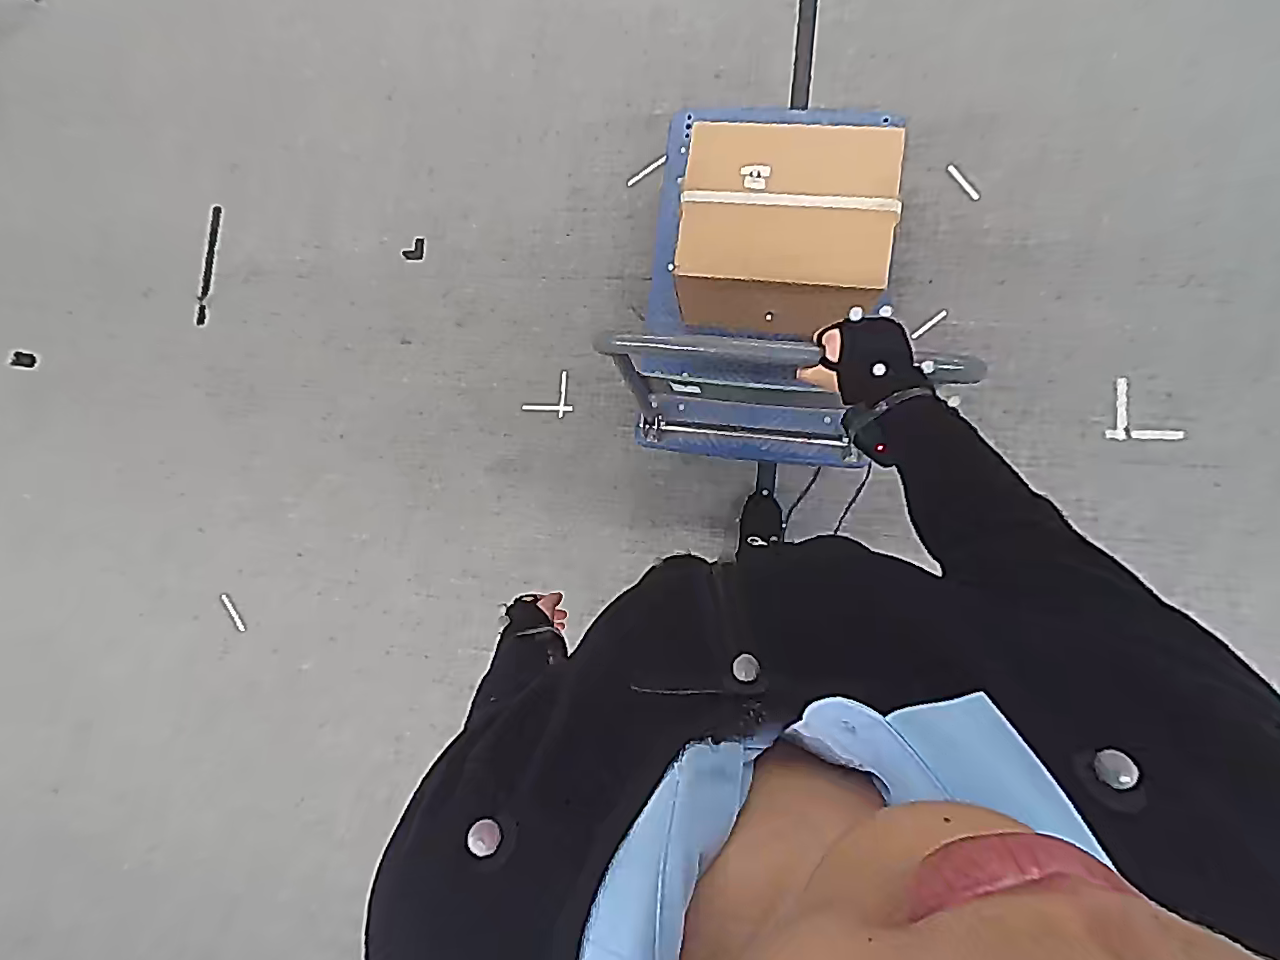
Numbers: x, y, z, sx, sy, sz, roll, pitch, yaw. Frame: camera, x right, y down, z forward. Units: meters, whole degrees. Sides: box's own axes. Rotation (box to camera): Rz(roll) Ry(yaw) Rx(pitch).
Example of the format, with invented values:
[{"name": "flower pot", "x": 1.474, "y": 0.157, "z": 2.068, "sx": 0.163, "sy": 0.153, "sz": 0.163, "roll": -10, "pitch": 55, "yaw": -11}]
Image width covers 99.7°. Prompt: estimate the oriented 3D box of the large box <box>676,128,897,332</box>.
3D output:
[{"name": "large box", "x": 0.308, "y": -0.531, "z": 1.203, "sx": 0.408, "sy": 0.320, "sz": 0.320, "roll": 7, "pitch": 87, "yaw": 10}]
